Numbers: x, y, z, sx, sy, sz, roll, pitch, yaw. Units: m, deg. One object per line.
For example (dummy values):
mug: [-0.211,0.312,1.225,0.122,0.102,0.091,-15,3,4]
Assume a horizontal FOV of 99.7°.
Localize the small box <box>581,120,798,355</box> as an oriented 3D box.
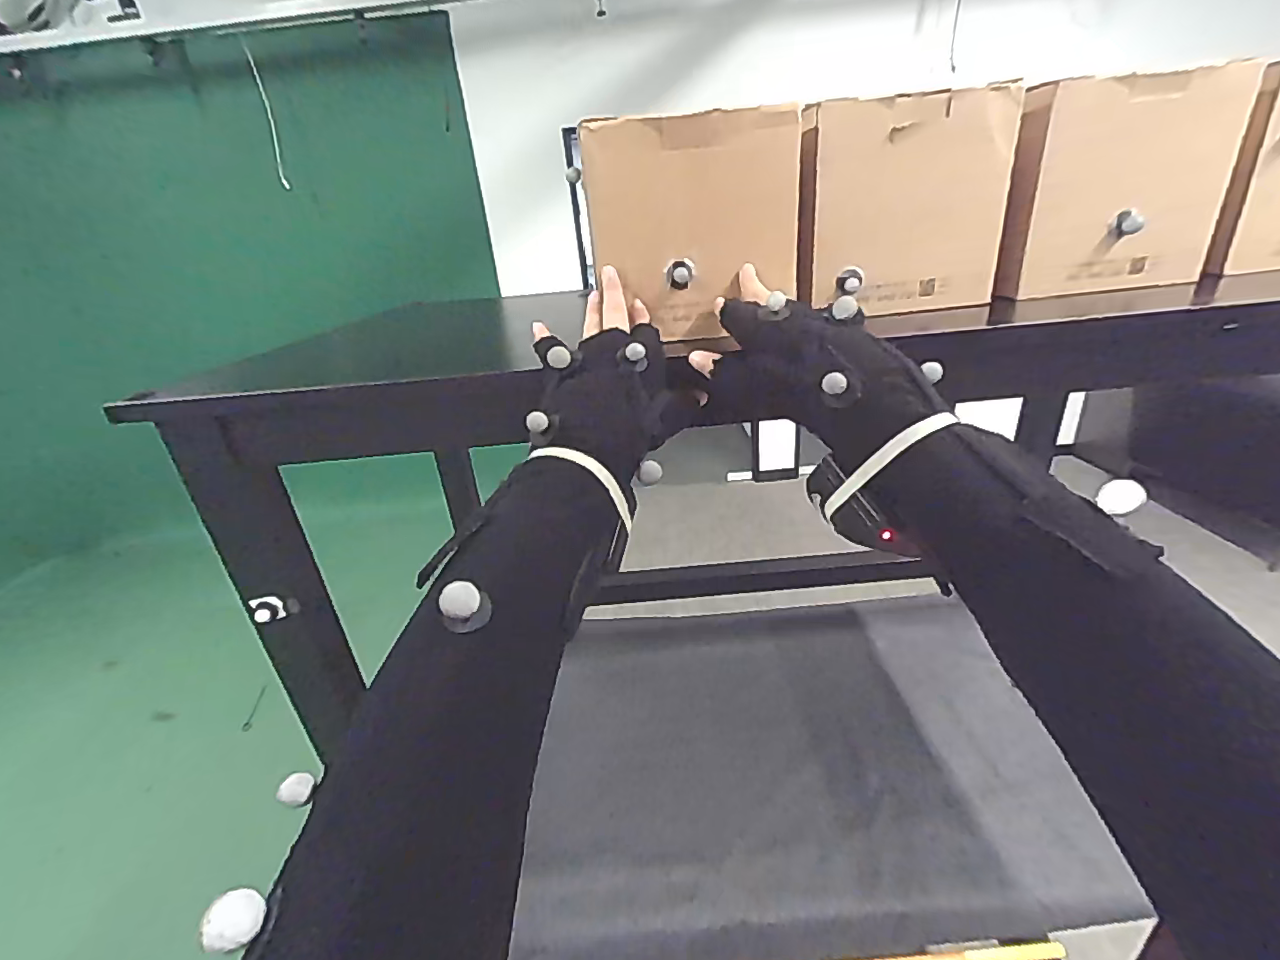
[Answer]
small box: [0.039,-0.220,0.510,0.168,0.176,0.179,-6,25,-1]
